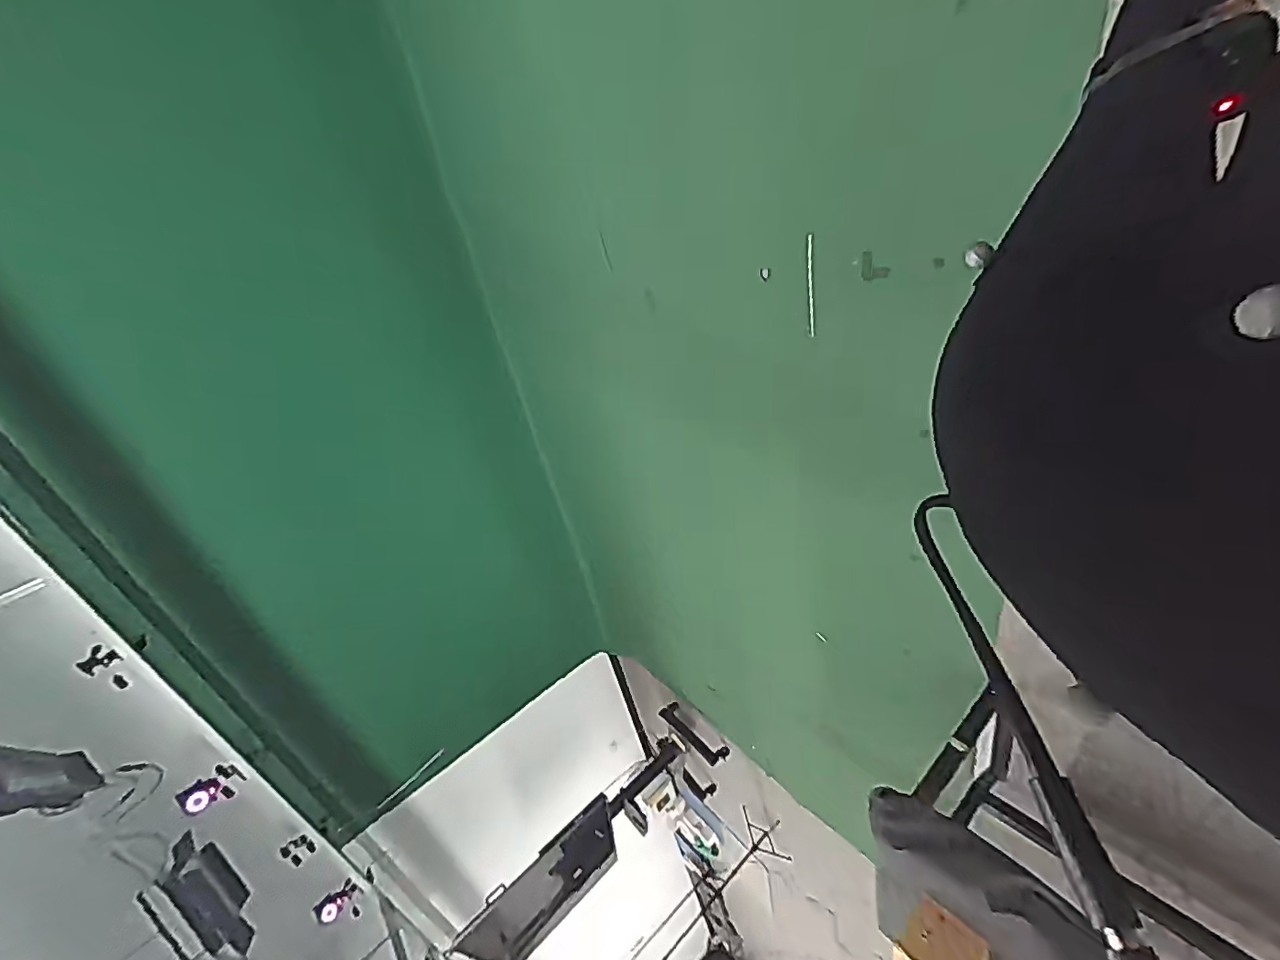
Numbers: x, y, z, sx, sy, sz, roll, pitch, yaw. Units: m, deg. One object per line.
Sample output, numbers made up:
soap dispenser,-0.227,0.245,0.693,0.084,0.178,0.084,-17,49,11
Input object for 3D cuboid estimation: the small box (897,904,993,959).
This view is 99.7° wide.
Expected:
small box,0.791,1.263,1.402,0.168,0.176,0.179,21,137,50
